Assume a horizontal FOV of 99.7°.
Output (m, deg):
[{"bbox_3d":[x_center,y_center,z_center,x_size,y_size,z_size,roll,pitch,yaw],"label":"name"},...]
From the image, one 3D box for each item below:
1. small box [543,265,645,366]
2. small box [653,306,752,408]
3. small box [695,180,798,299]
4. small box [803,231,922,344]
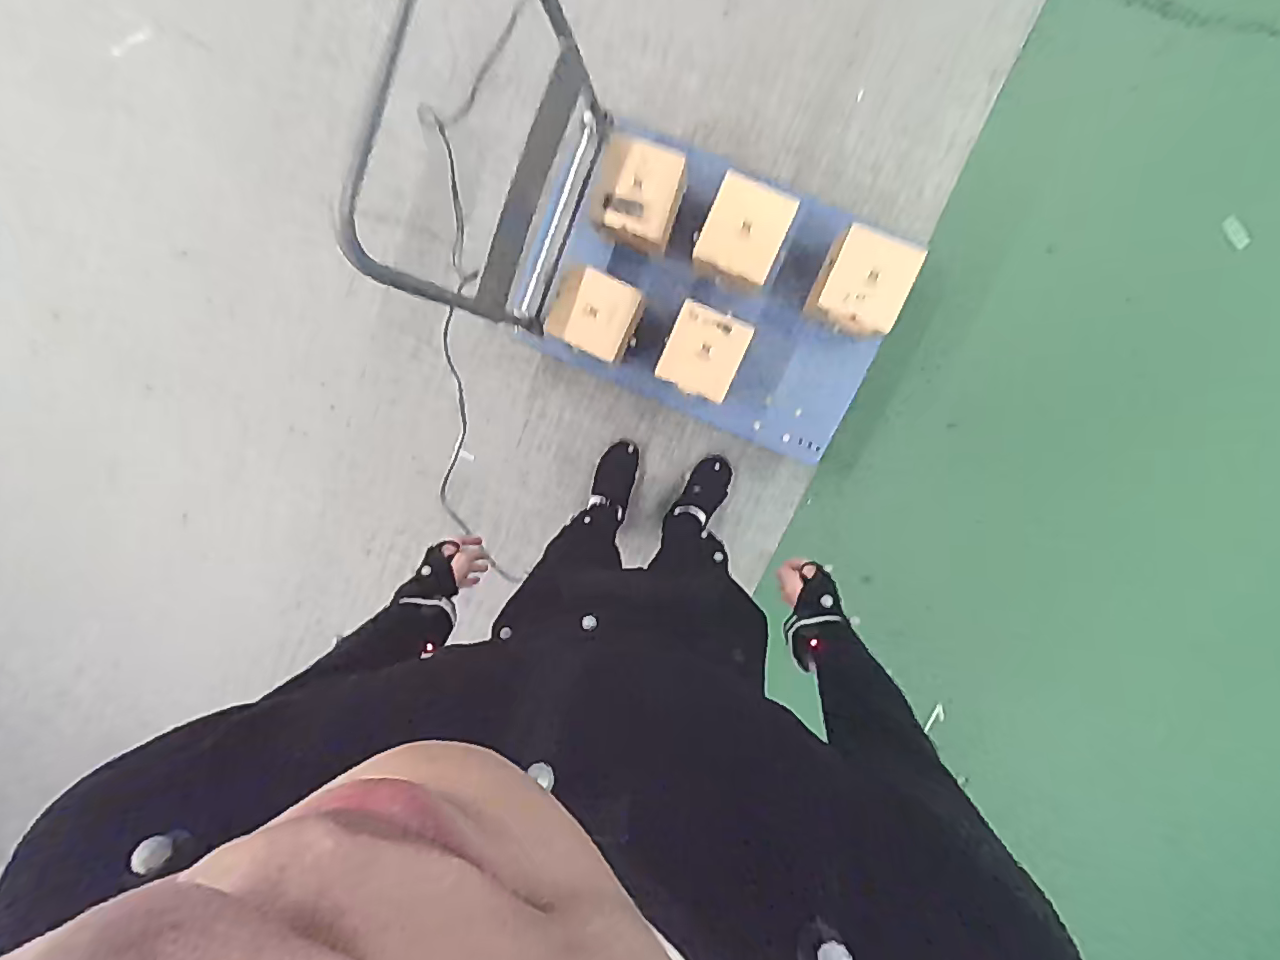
[{"bbox_3d":[-0.100,-0.374,1.269,0.179,0.176,0.168,26,101,-1],"label":"small box"},{"bbox_3d":[0.144,-0.282,1.263,0.168,0.176,0.179,24,101,0],"label":"small box"},{"bbox_3d":[0.227,-0.530,1.218,0.168,0.176,0.179,24,102,0],"label":"small box"},{"bbox_3d":[0.485,-0.421,1.212,0.168,0.176,0.179,23,101,1],"label":"small box"}]
